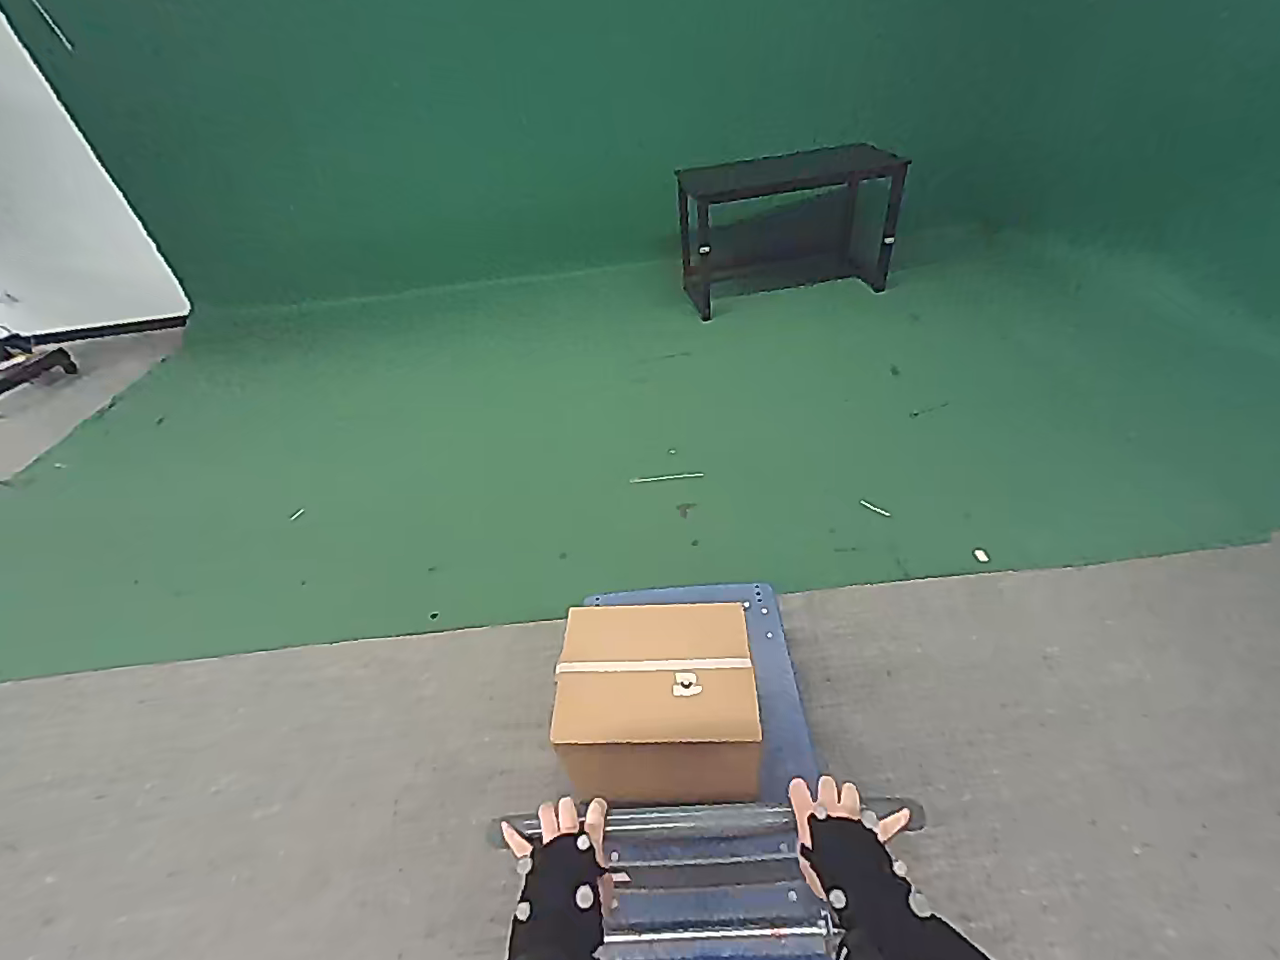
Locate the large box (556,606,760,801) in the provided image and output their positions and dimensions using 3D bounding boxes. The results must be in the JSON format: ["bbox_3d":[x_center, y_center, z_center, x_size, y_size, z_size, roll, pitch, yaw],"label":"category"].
[{"bbox_3d":[0.045,0.514,1.246,0.408,0.320,0.320,-2,41,4],"label":"large box"}]
